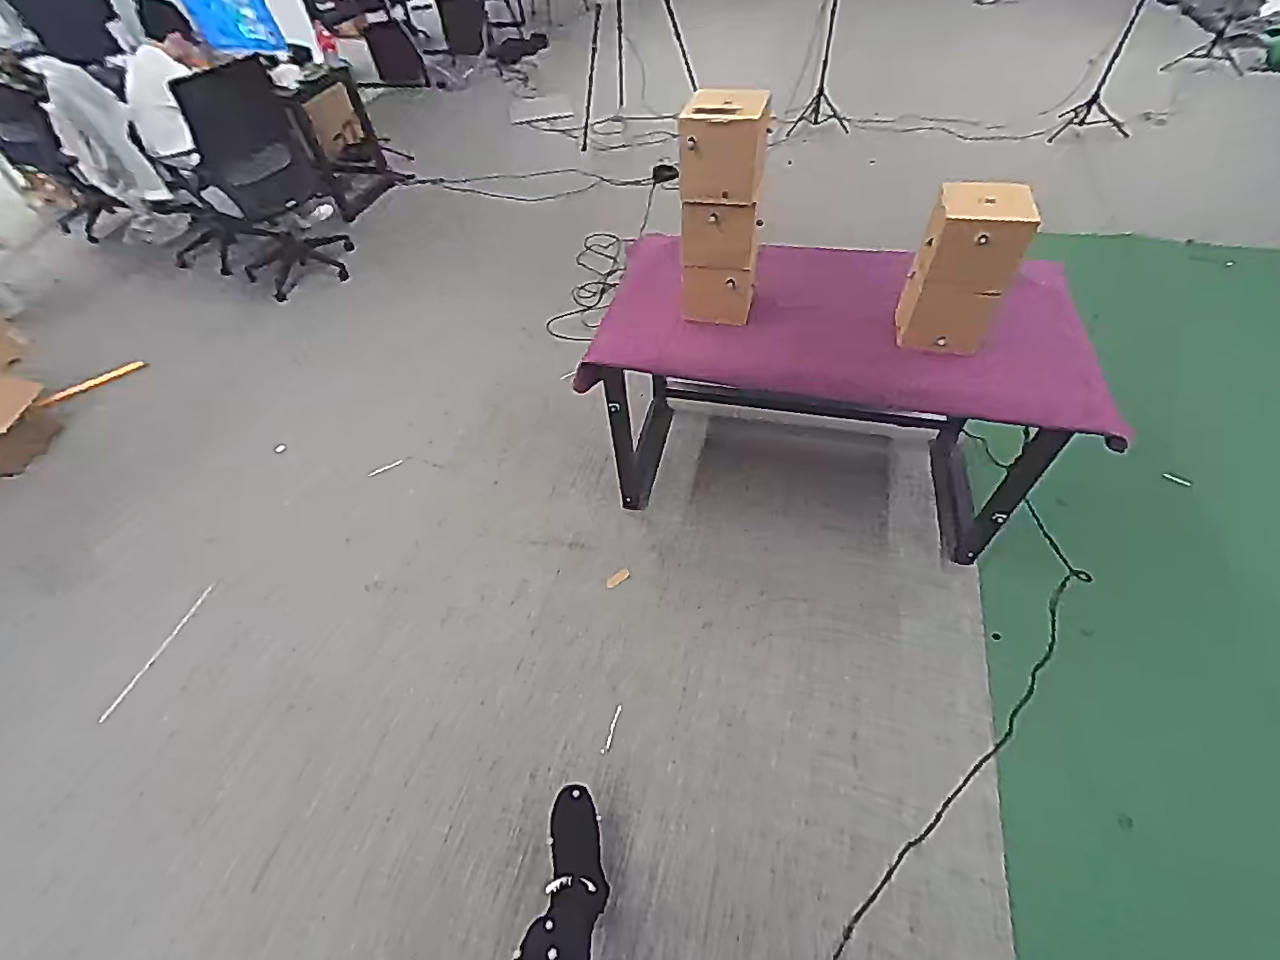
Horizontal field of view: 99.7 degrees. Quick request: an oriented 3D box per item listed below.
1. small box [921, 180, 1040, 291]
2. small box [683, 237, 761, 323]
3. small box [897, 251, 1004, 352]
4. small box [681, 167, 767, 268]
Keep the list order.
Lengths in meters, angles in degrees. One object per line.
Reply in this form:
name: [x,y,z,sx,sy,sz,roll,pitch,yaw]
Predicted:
small box: [0.730,-0.534,1.185,0.179,0.176,0.168,10,54,13]
small box: [0.217,-0.543,1.453,0.179,0.176,0.168,10,53,13]
small box: [0.742,-0.431,1.311,0.179,0.176,0.168,9,52,12]
small box: [0.204,-0.640,1.325,0.179,0.176,0.168,9,54,13]
